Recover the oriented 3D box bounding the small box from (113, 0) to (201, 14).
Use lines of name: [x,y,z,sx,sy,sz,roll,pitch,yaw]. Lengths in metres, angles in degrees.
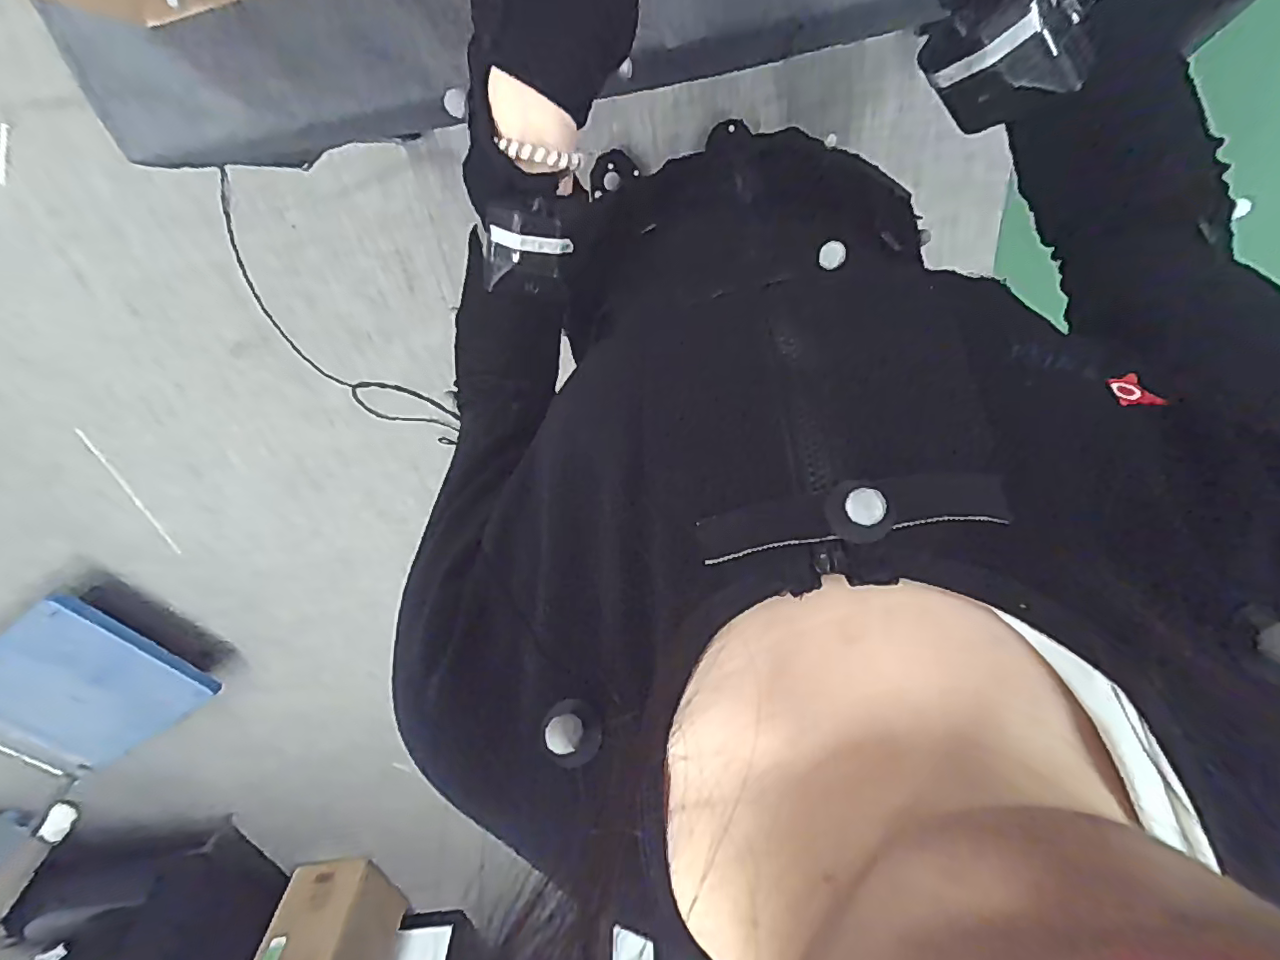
small box: [-0.409,-0.483,0.391,0.168,0.176,0.179,-11,121,6]
